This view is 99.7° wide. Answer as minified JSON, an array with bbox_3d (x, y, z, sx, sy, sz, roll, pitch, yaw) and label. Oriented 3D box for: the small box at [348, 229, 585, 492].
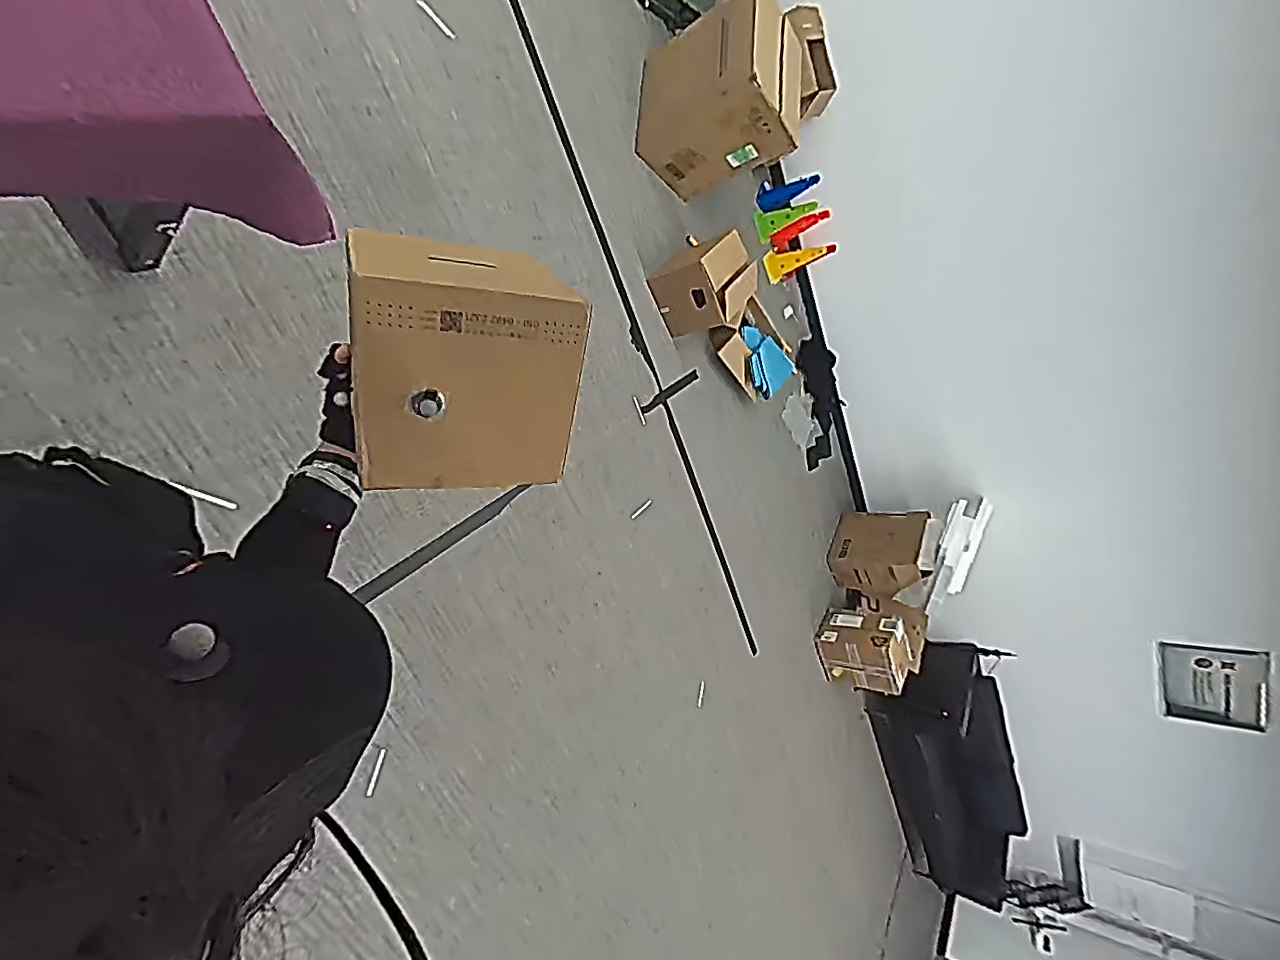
[{"bbox_3d":[-0.157,-0.108,0.471,0.168,0.179,0.176,-1,122,-29],"label":"small box"}]
